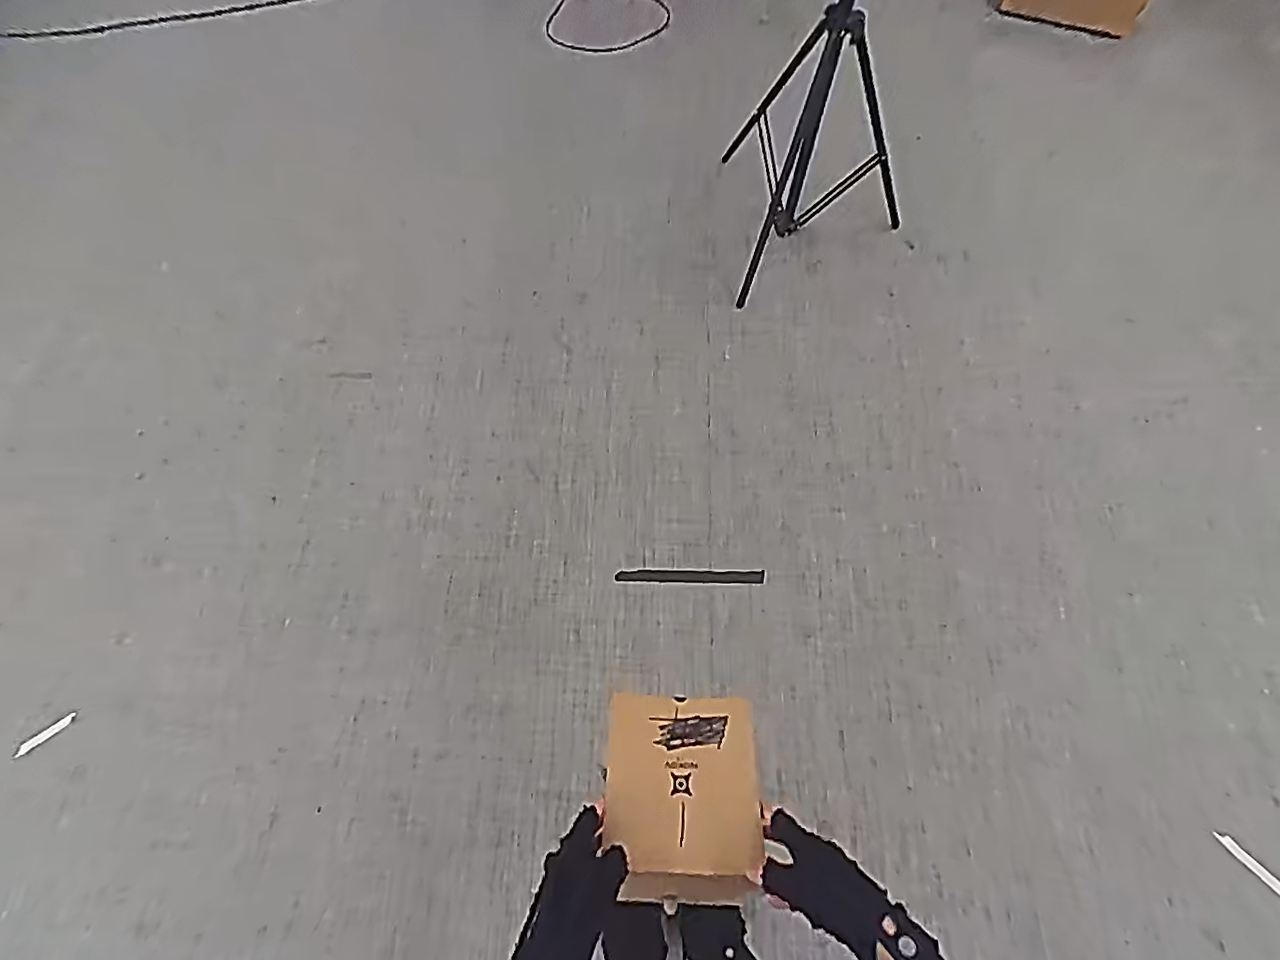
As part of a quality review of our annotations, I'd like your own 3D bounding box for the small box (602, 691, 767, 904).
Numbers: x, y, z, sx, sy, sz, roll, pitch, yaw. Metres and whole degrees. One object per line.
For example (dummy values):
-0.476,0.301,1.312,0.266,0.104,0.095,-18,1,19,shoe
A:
0.045,0.375,0.642,0.168,0.176,0.179,2,44,1,small box
